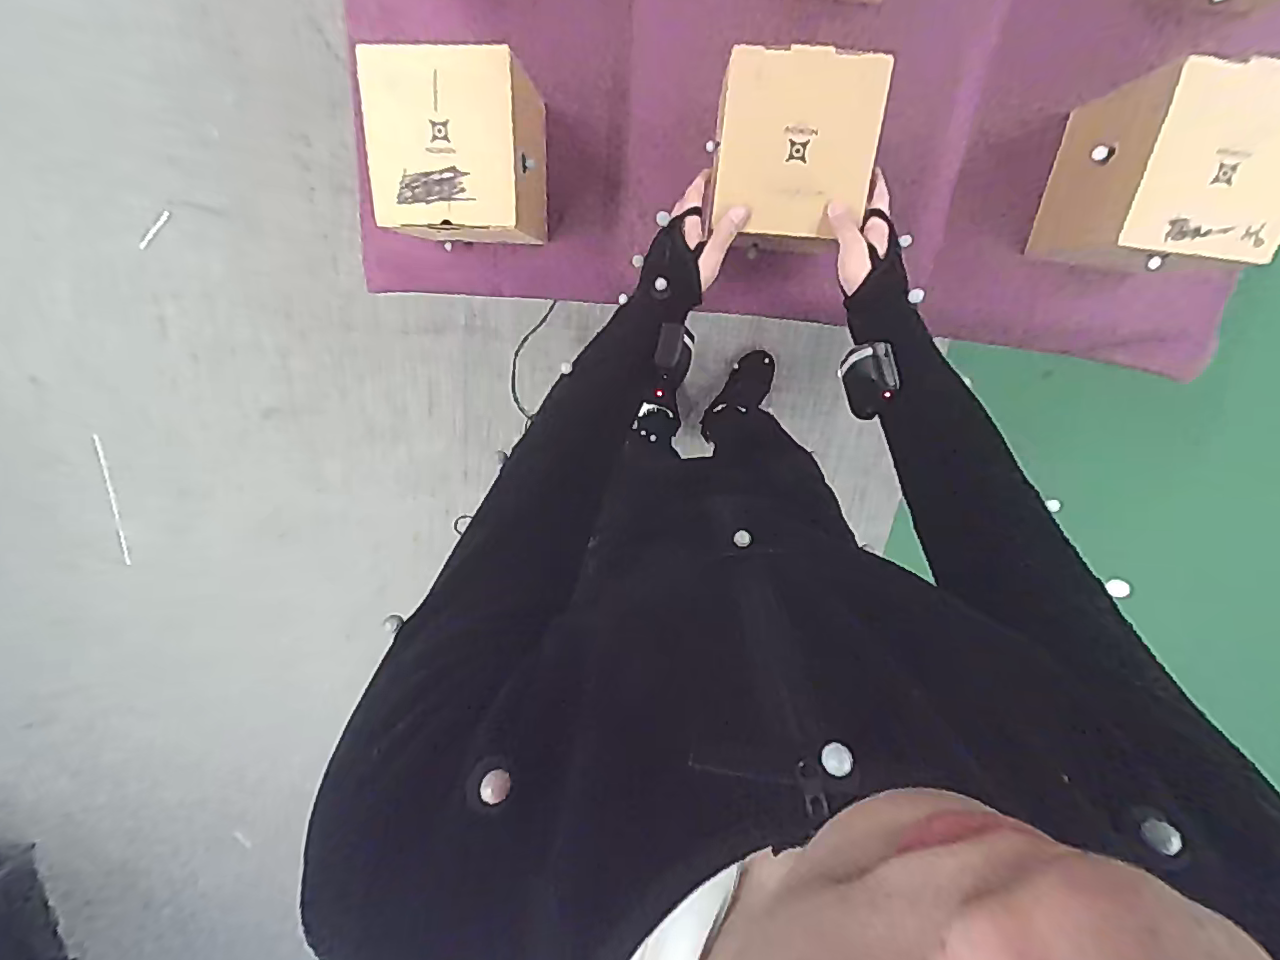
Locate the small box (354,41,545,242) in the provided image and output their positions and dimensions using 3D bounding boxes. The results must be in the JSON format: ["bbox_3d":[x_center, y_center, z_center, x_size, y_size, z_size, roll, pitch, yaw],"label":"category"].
[{"bbox_3d":[-0.214,-0.393,0.658,0.168,0.176,0.179,3,108,2],"label":"small box"}]

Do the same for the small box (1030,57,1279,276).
[{"bbox_3d":[0.606,-0.346,0.632,0.168,0.176,0.179,8,108,1],"label":"small box"}]

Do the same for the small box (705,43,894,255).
[{"bbox_3d":[0.172,-0.377,0.647,0.168,0.176,0.179,6,110,2],"label":"small box"}]
